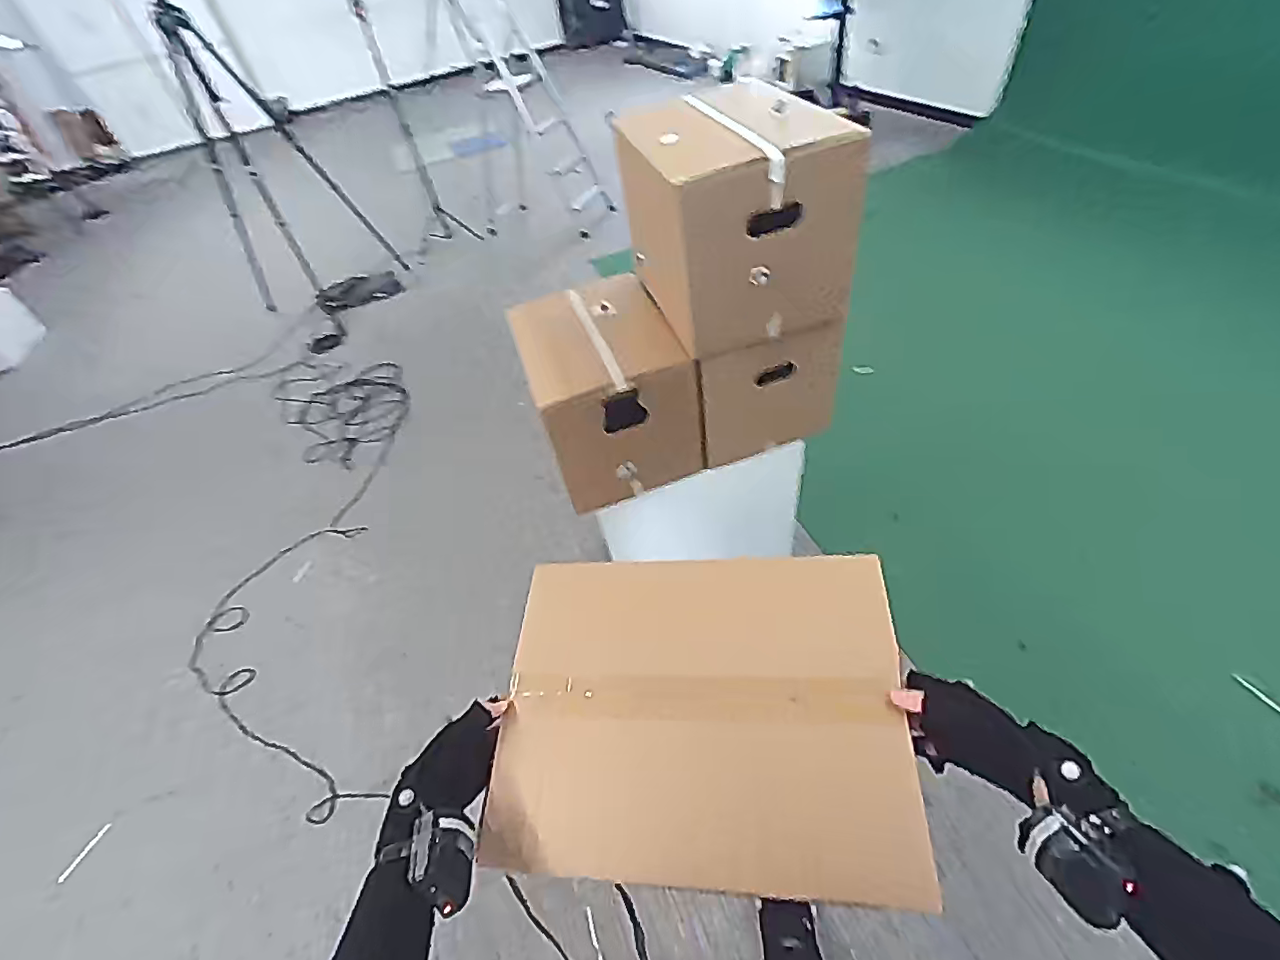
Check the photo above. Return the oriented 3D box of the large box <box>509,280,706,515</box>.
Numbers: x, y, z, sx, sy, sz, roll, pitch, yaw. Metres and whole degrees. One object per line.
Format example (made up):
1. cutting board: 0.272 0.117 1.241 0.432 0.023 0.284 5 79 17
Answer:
1. large box: -0.075 -0.195 1.238 0.320 0.320 0.408 -19 46 -7
